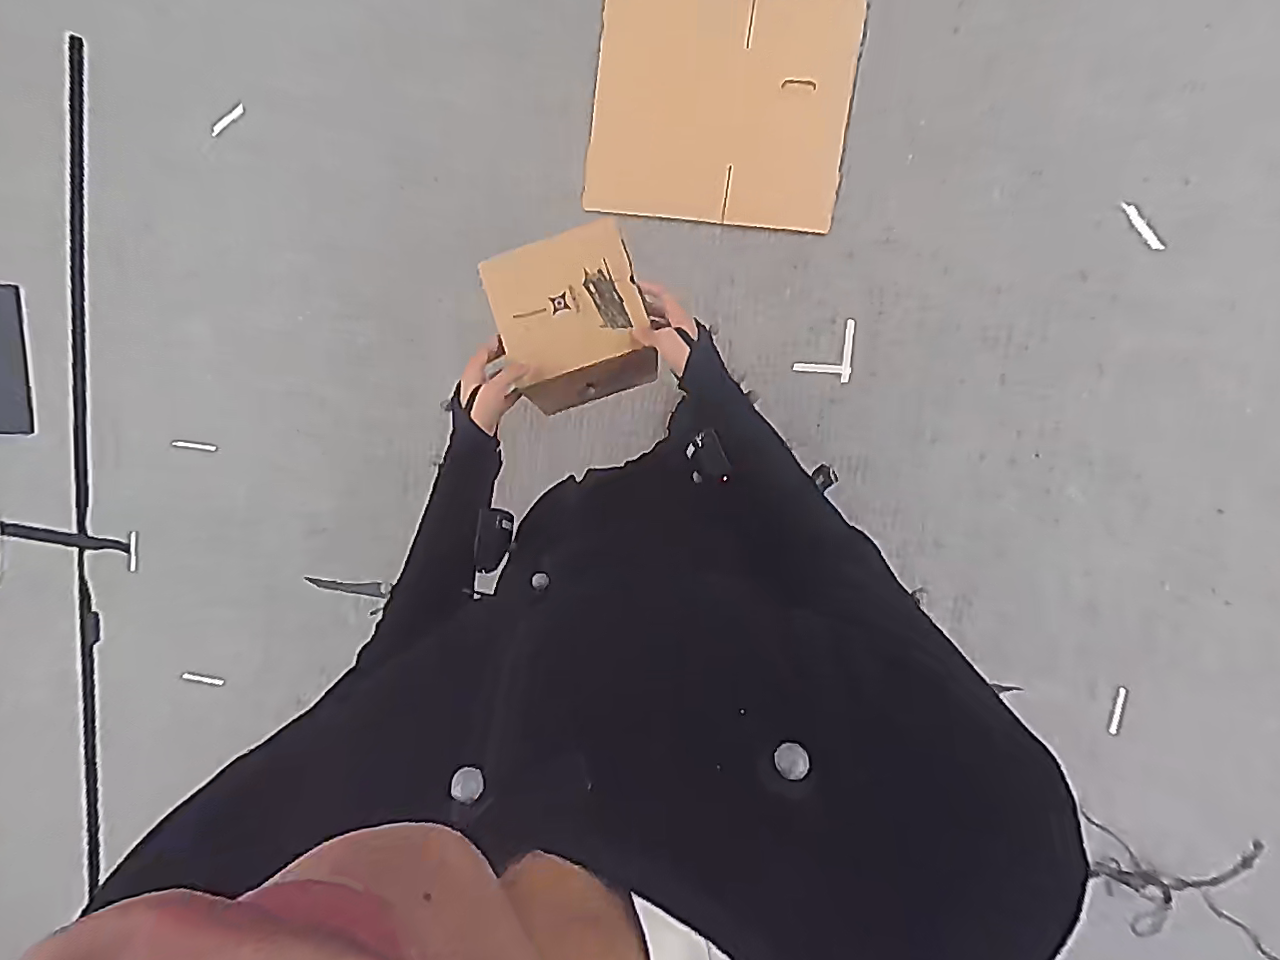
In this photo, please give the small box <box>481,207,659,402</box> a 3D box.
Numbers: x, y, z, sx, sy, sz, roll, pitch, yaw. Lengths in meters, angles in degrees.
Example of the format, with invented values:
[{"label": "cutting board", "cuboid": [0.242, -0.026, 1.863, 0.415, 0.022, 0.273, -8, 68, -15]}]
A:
[{"label": "small box", "cuboid": [-0.082, -0.217, 0.712, 0.179, 0.176, 0.168, -18, 86, 1]}]
